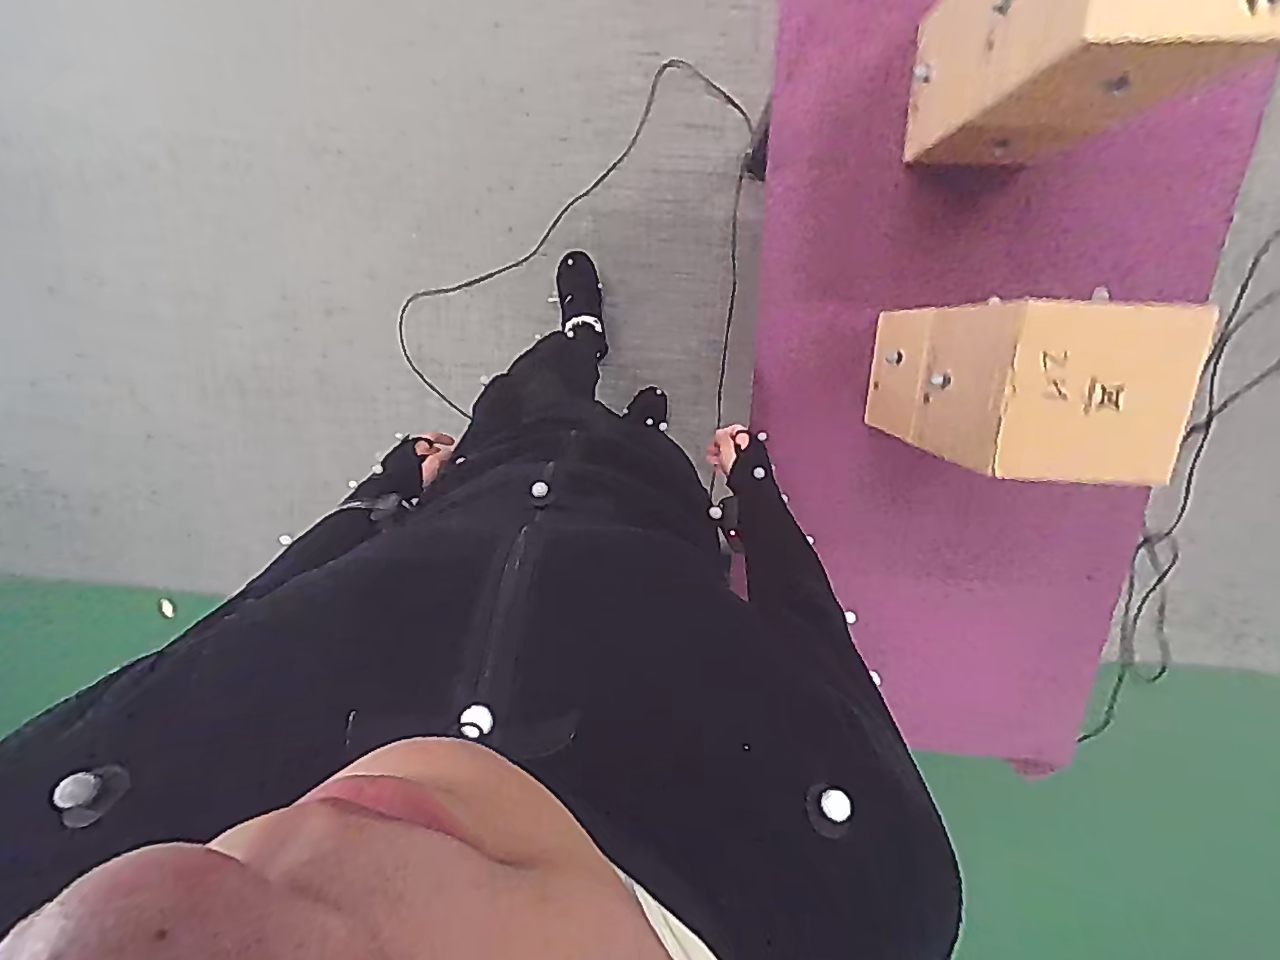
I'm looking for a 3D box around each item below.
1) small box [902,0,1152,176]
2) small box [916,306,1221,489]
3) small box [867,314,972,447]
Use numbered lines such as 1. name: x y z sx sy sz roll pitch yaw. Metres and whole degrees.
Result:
1. small box: 0.450 -0.483 0.653 0.179 0.176 0.168 2 104 2
2. small box: 0.436 -0.093 0.584 0.179 0.176 0.168 3 103 1
3. small box: 0.434 -0.134 0.744 0.179 0.176 0.168 2 104 0
